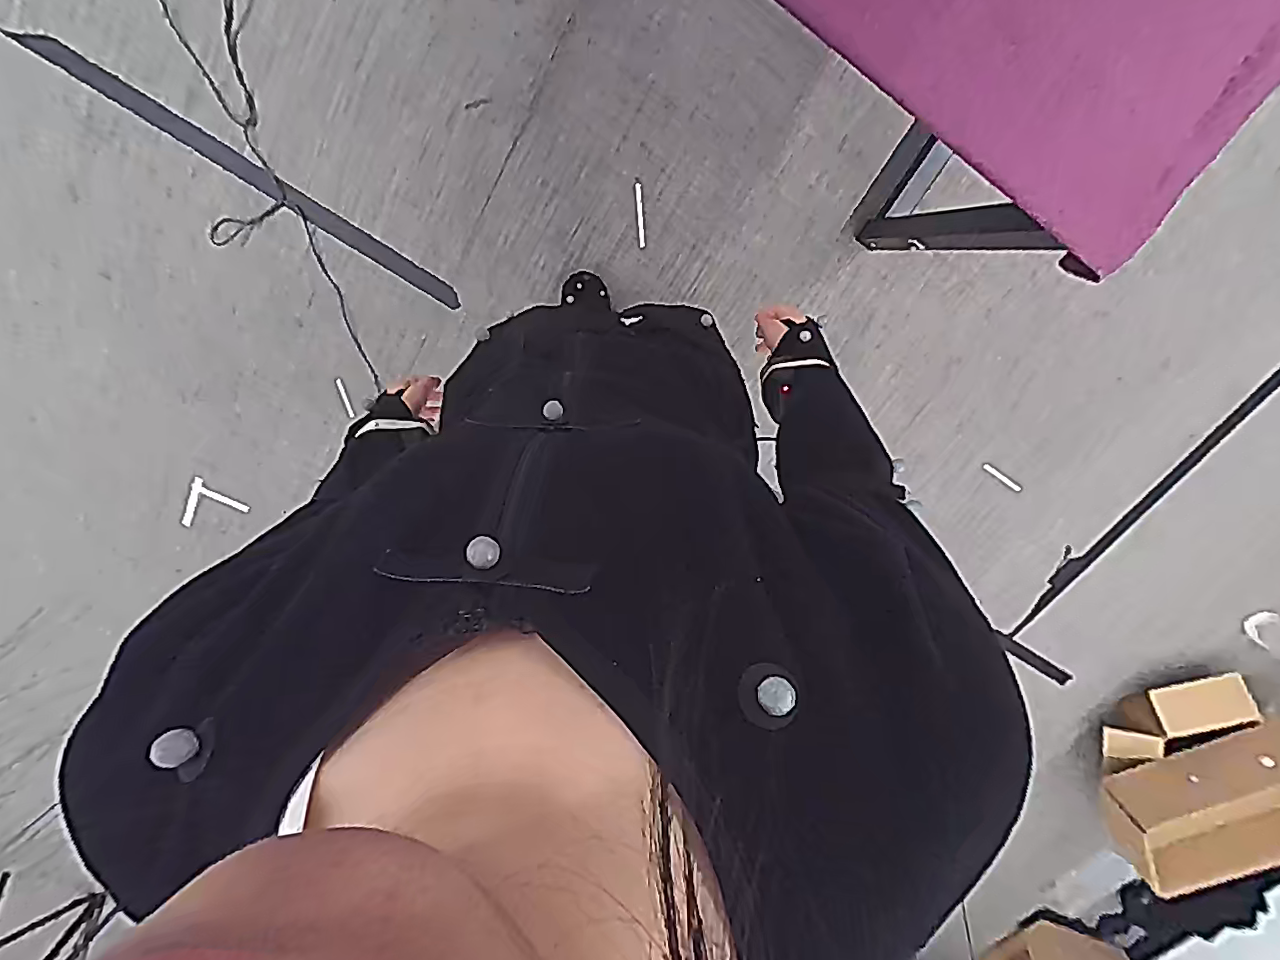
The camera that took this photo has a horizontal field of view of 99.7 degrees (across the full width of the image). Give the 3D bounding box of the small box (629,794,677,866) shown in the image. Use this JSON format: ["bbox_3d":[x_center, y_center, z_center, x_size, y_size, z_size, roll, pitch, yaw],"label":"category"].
[{"bbox_3d":[0.048,1.317,2.048,0.168,0.176,0.179,-5,115,1],"label":"small box"}]
